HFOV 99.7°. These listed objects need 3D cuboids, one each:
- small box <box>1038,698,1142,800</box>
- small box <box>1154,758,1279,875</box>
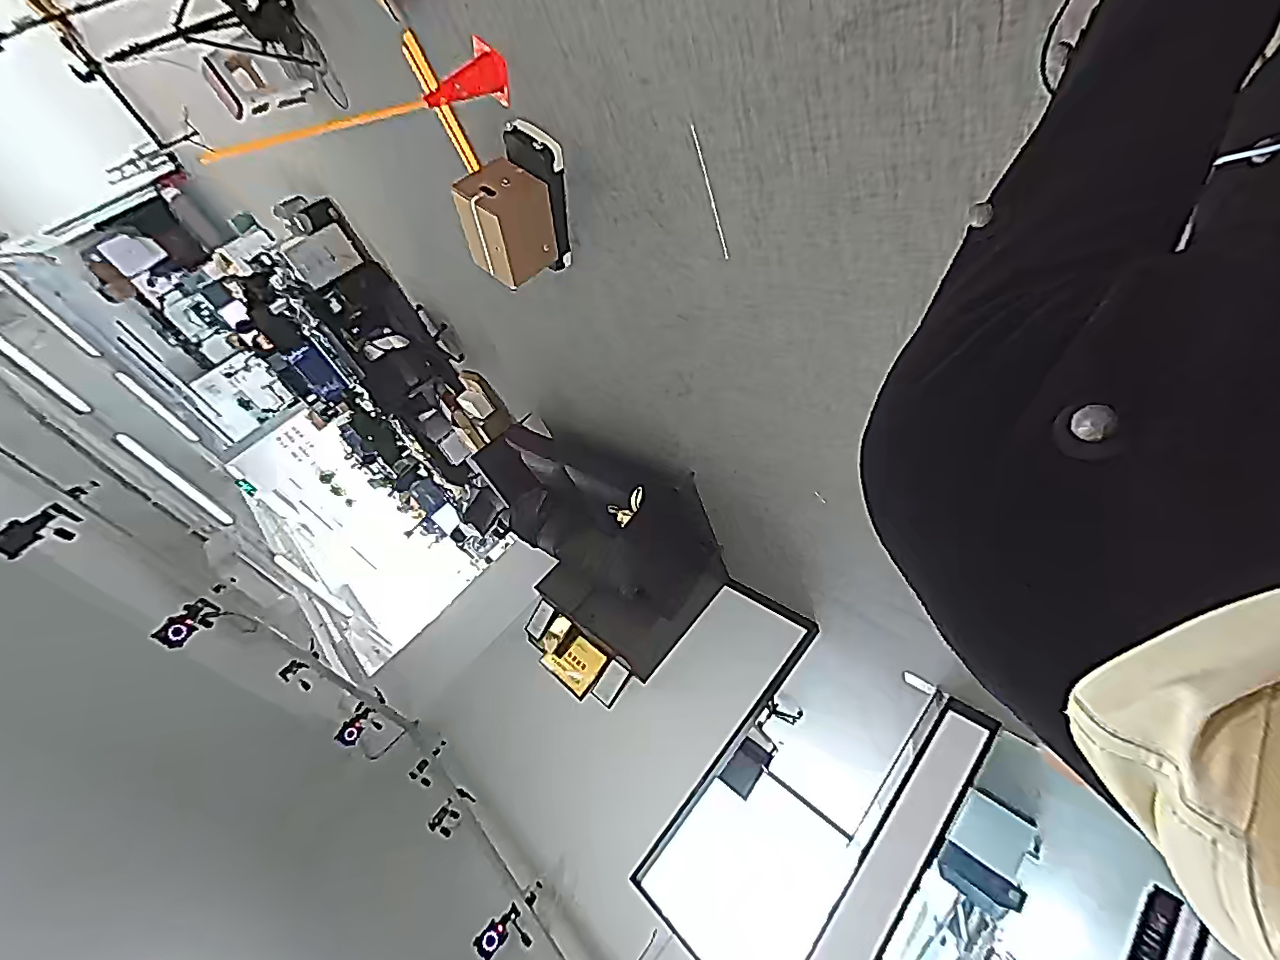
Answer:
[{"bbox_3d":[1.292,0.768,1.553,0.179,0.176,0.168,27,151,41],"label":"small box"},{"bbox_3d":[1.467,0.852,1.379,0.168,0.176,0.179,24,151,42],"label":"small box"}]
